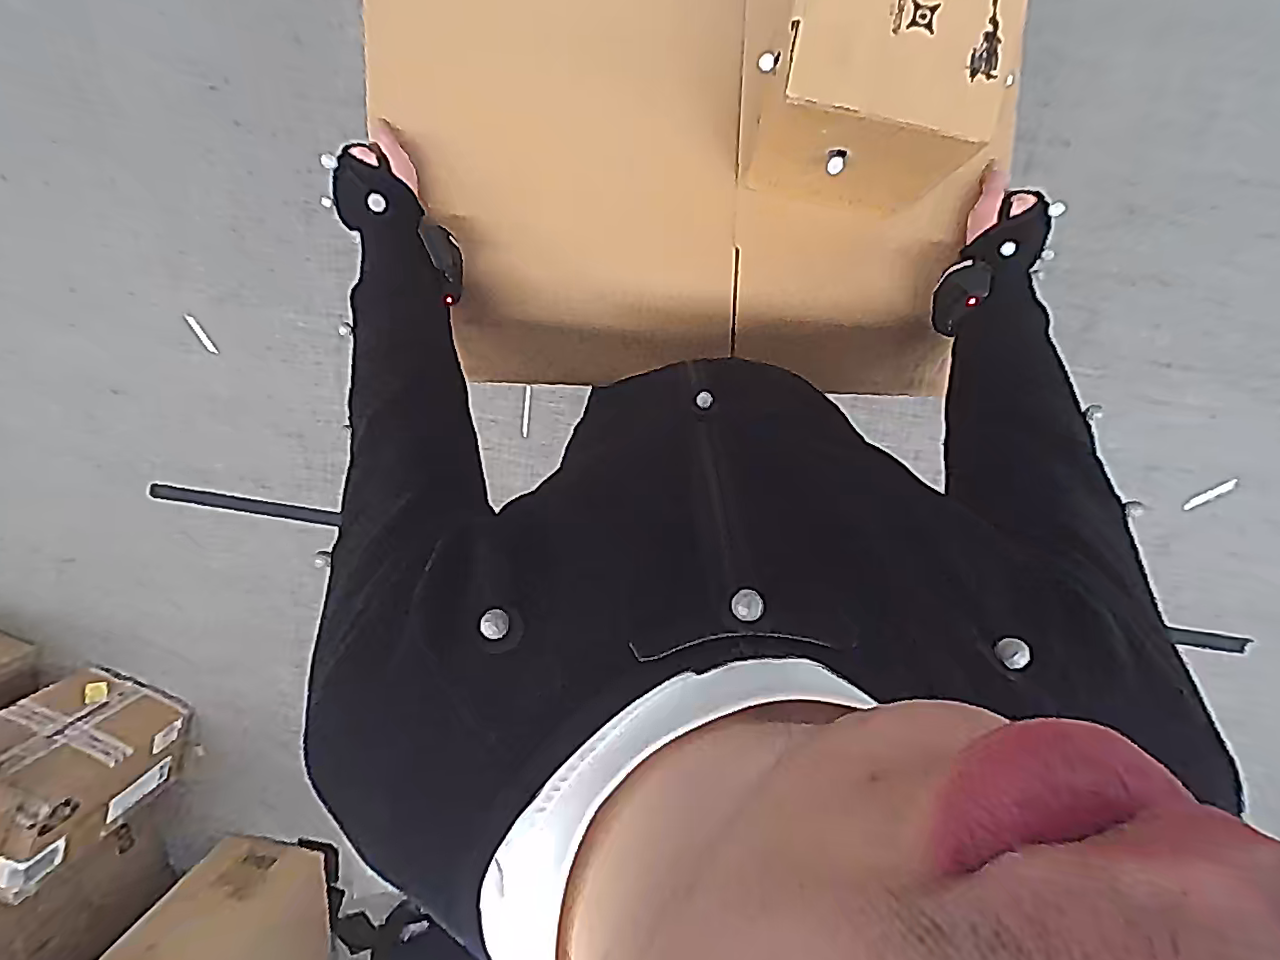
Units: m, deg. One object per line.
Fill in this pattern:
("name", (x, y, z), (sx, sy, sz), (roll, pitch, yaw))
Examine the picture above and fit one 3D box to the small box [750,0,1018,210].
("small box", (0.215, -0.383, 0.515), (0.179, 0.176, 0.168), (12, 96, 0))
